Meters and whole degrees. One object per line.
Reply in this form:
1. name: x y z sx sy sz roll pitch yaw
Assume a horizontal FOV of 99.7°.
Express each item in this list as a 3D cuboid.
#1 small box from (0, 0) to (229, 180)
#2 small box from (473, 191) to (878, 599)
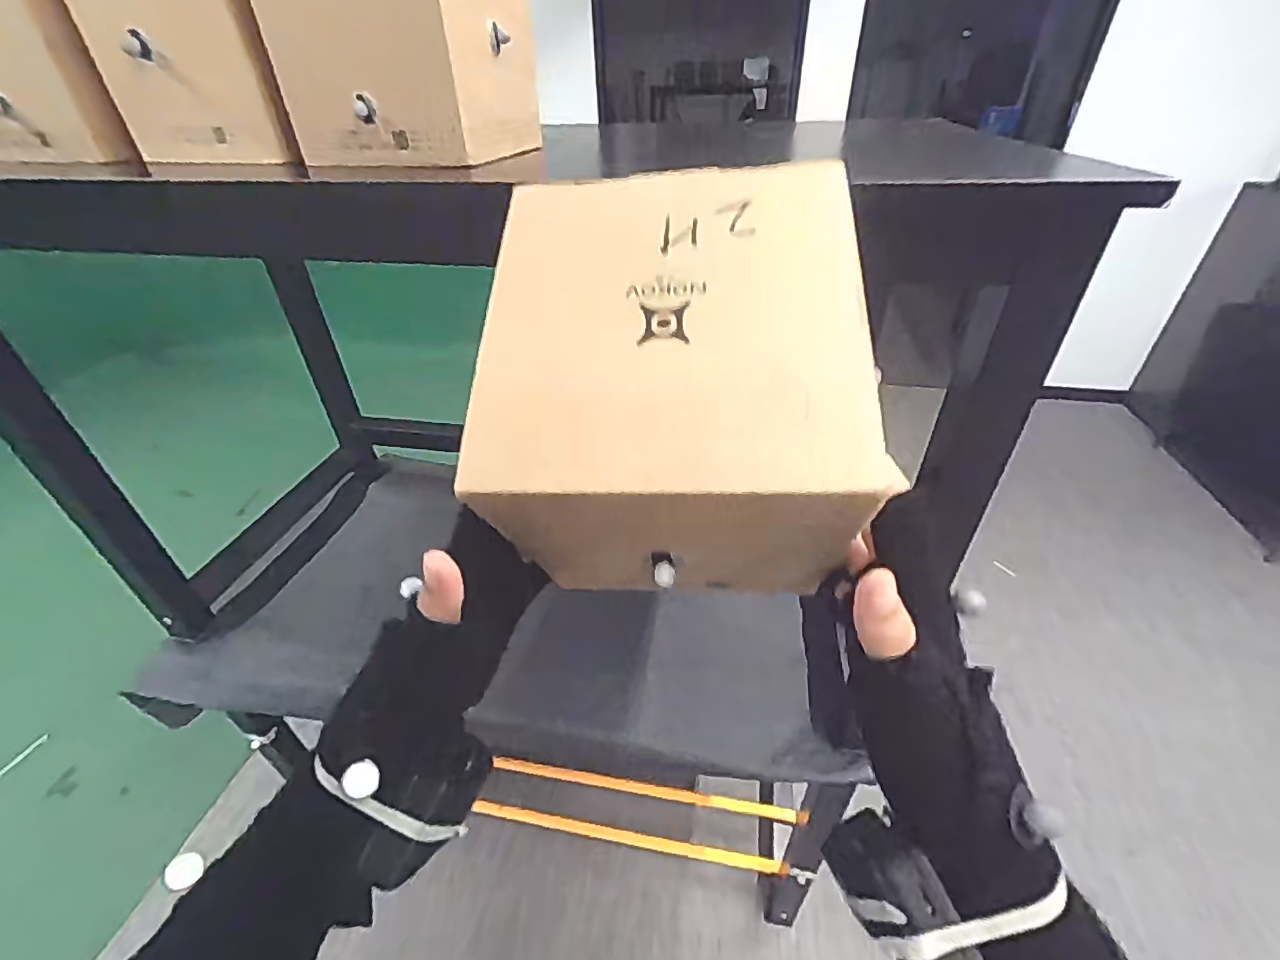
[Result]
1. small box: -0.587 -0.428 0.572 0.168 0.176 0.179 6 38 10
2. small box: 0.025 -0.032 0.317 0.168 0.176 0.179 0 66 8
